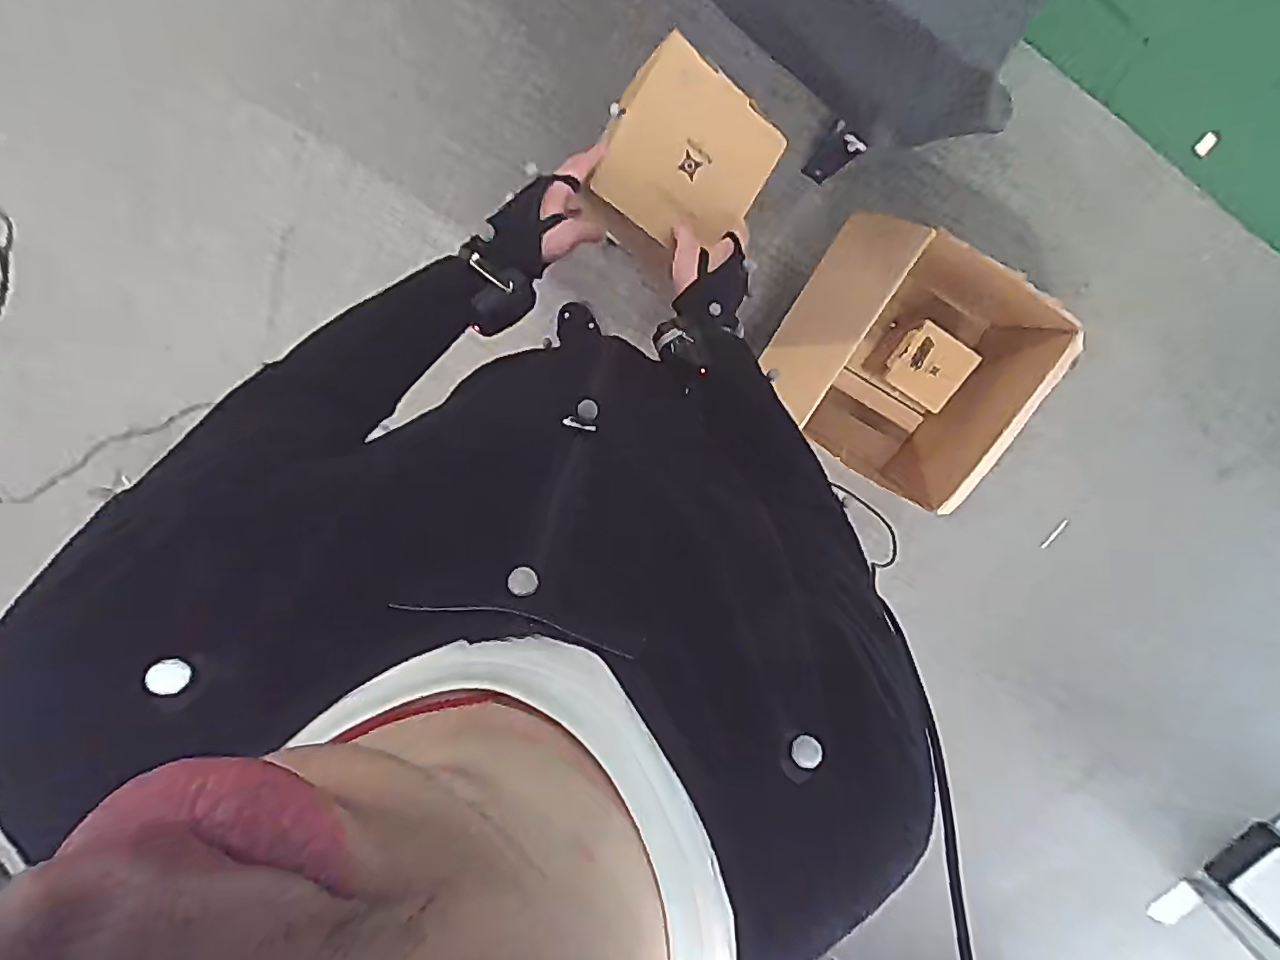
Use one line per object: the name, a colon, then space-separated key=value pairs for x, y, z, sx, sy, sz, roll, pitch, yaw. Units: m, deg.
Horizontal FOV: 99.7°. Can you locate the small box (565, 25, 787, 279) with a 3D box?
small box: x=0.028 y=-0.358 z=0.635 sx=0.168 sy=0.176 sz=0.179 roll=28 pitch=98 yaw=-24
